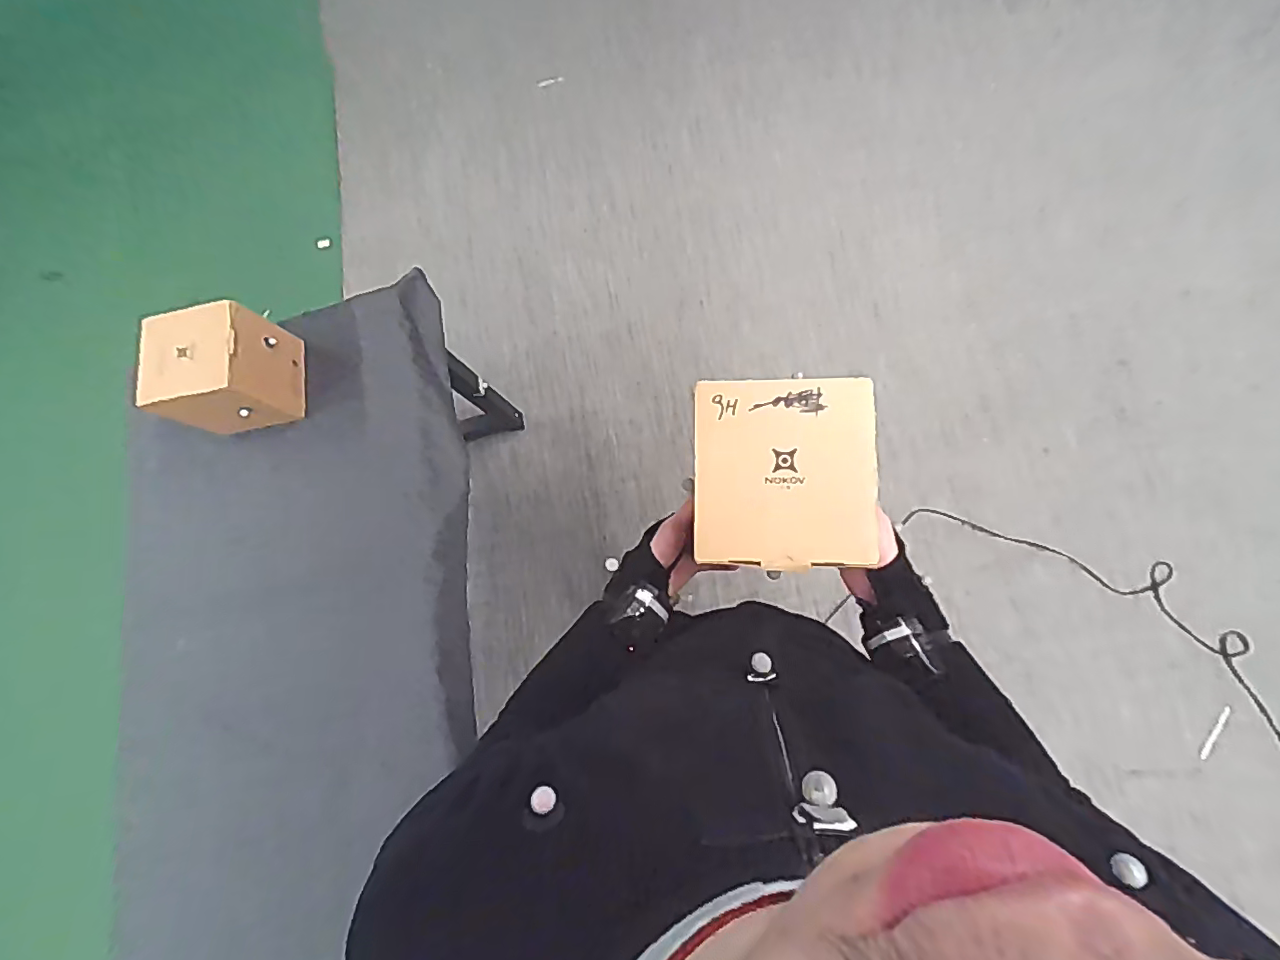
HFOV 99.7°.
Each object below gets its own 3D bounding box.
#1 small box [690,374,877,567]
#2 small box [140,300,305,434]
[{"bbox_3d":[0.139,-0.003,0.568,0.168,0.176,0.179,1,83,6],"label":"small box"},{"bbox_3d":[-0.743,-0.195,0.981,0.179,0.176,0.168,-10,75,8],"label":"small box"}]
